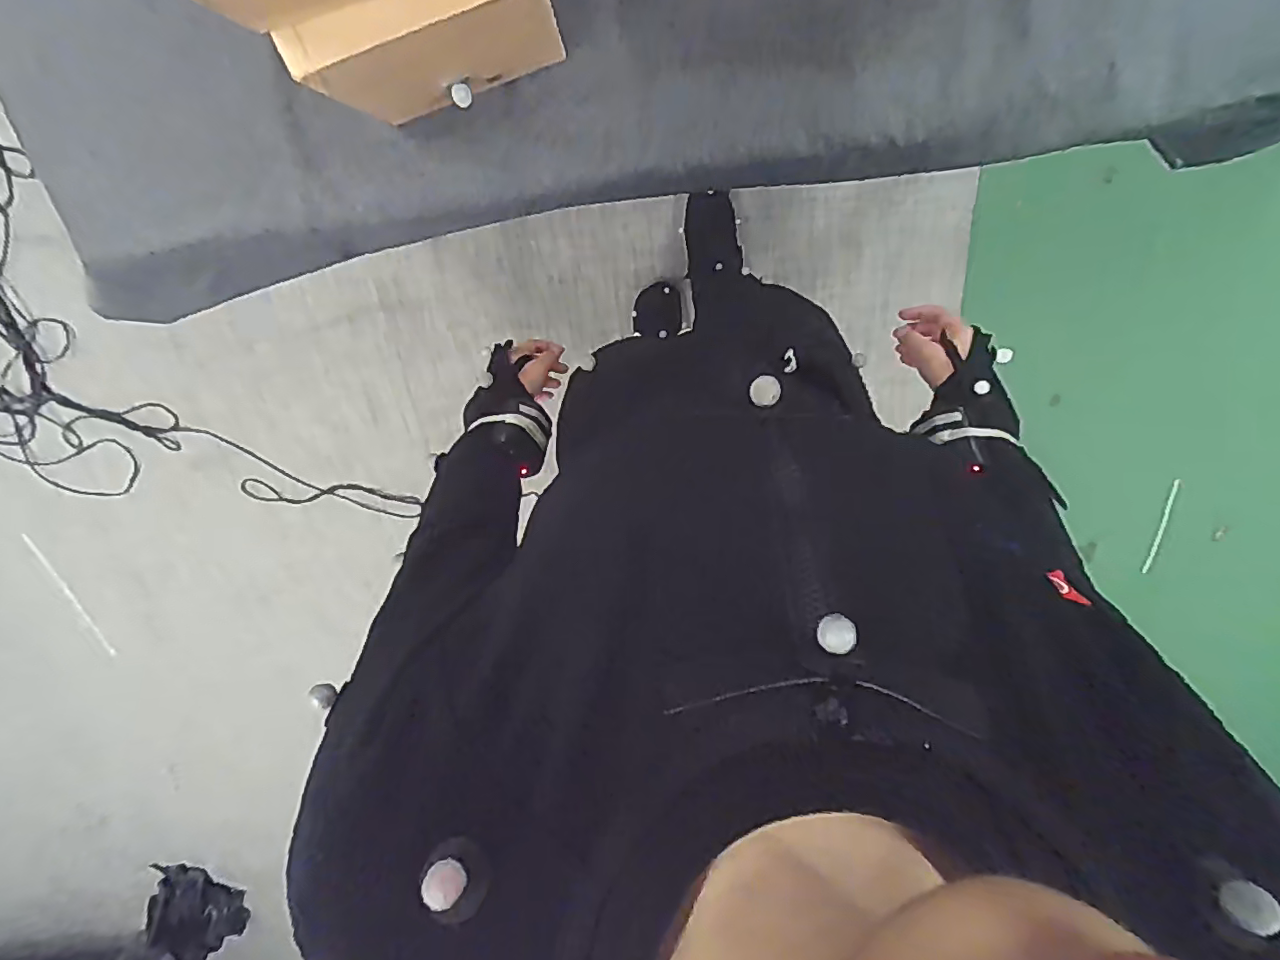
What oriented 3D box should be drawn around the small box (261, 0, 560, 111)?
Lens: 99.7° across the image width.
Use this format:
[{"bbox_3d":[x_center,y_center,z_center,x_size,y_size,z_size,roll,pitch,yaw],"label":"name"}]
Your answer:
[{"bbox_3d":[-0.164,-0.384,0.362,0.168,0.176,0.179,-16,116,7],"label":"small box"}]
